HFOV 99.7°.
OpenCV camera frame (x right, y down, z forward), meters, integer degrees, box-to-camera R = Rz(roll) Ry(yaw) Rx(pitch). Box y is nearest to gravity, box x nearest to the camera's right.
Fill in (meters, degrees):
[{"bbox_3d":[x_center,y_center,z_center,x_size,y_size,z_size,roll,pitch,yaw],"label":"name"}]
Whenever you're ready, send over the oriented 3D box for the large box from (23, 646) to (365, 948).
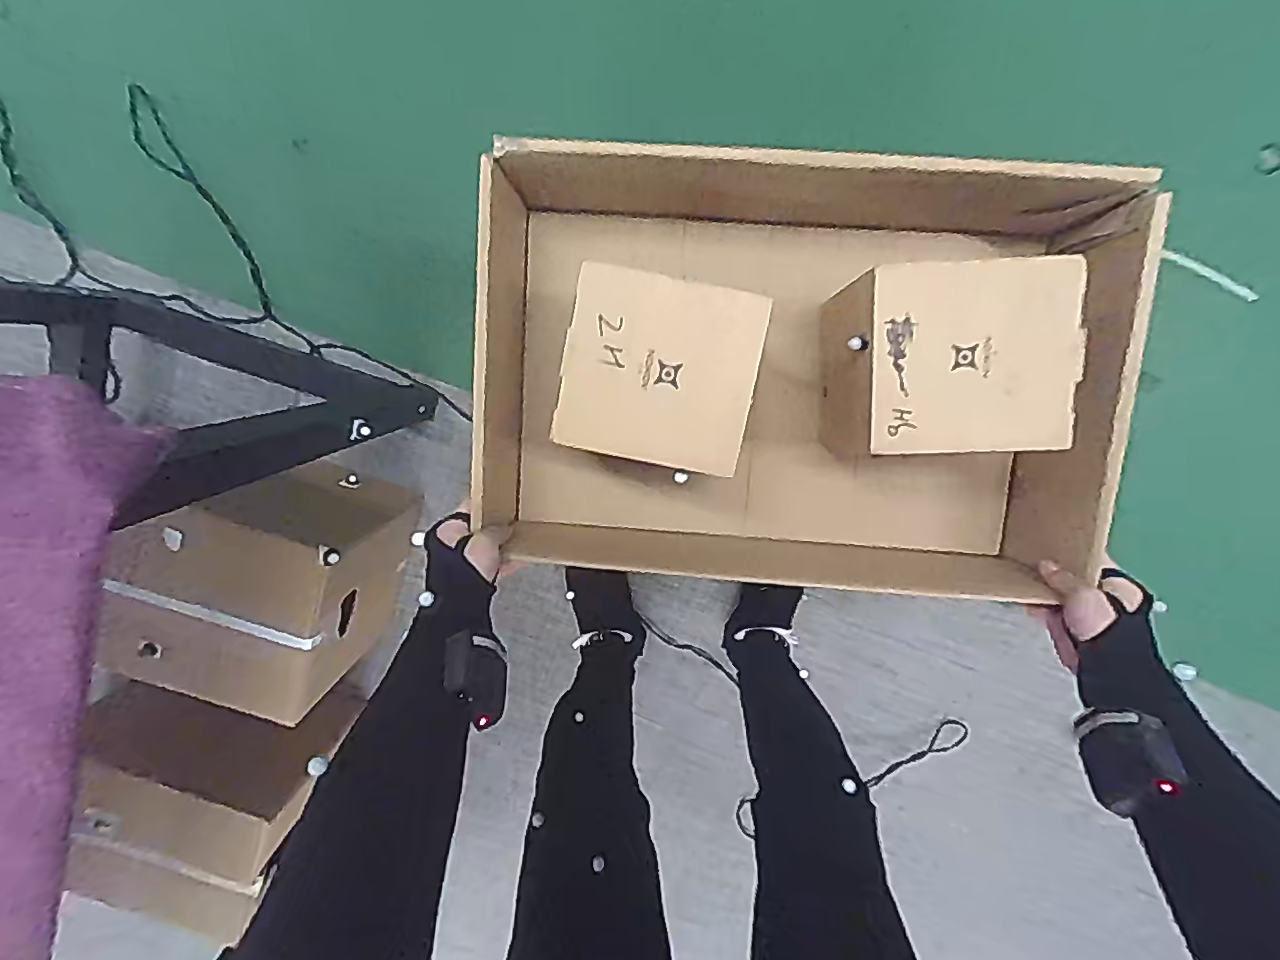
[{"bbox_3d":[-0.832,0.590,1.057,0.408,0.320,0.320,21,104,-1],"label":"large box"}]
